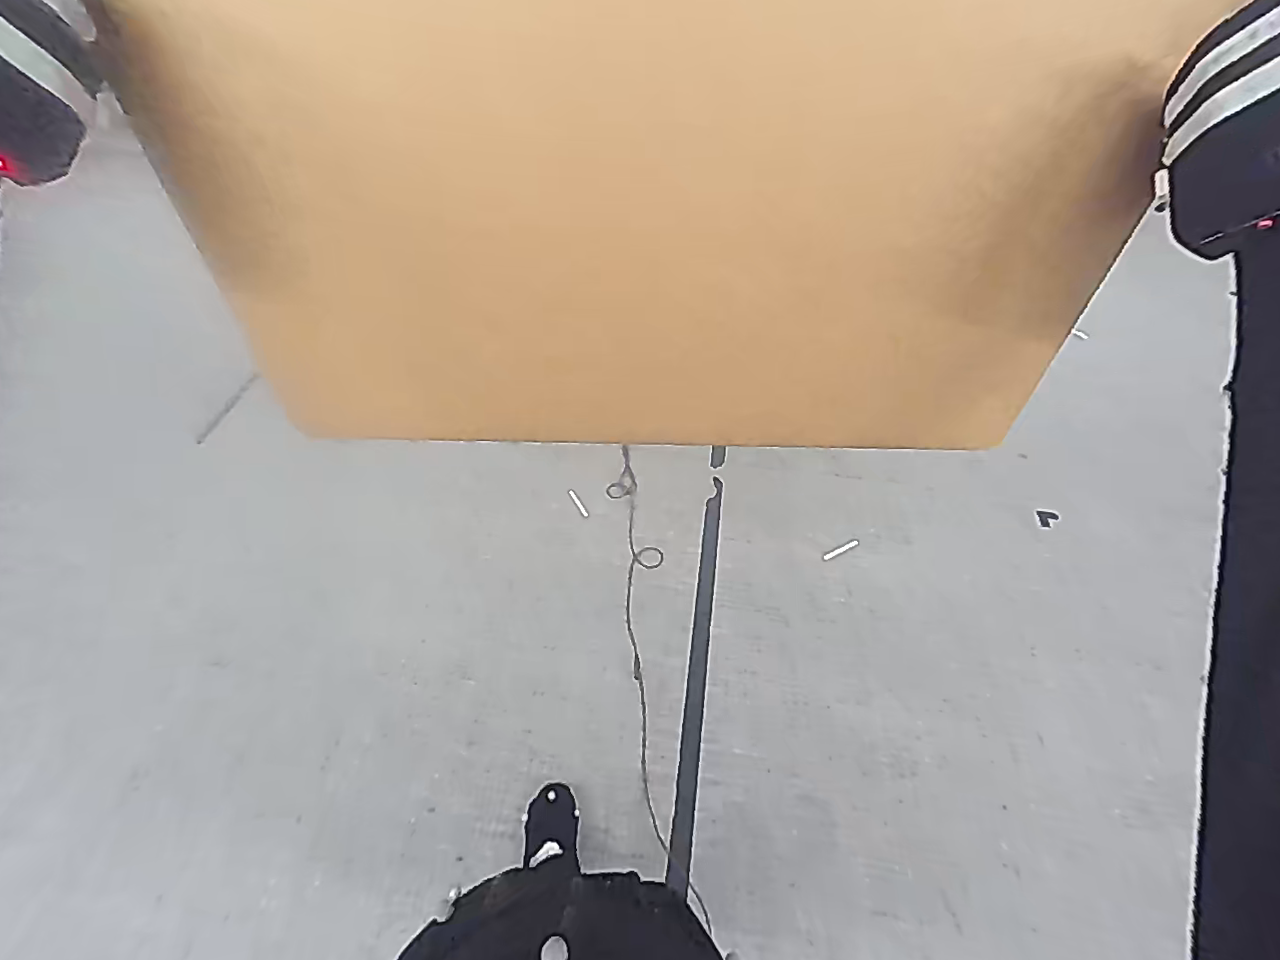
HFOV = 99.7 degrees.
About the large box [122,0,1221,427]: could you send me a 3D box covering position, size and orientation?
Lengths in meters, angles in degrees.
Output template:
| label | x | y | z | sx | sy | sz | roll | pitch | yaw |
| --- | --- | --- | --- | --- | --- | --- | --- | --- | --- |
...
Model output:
| label | x | y | z | sx | sy | sz | roll | pitch | yaw |
| --- | --- | --- | --- | --- | --- | --- | --- | --- | --- |
| large box | 0.009 | -0.244 | 0.325 | 0.408 | 0.320 | 0.320 | 2 | 44 | -2 |
